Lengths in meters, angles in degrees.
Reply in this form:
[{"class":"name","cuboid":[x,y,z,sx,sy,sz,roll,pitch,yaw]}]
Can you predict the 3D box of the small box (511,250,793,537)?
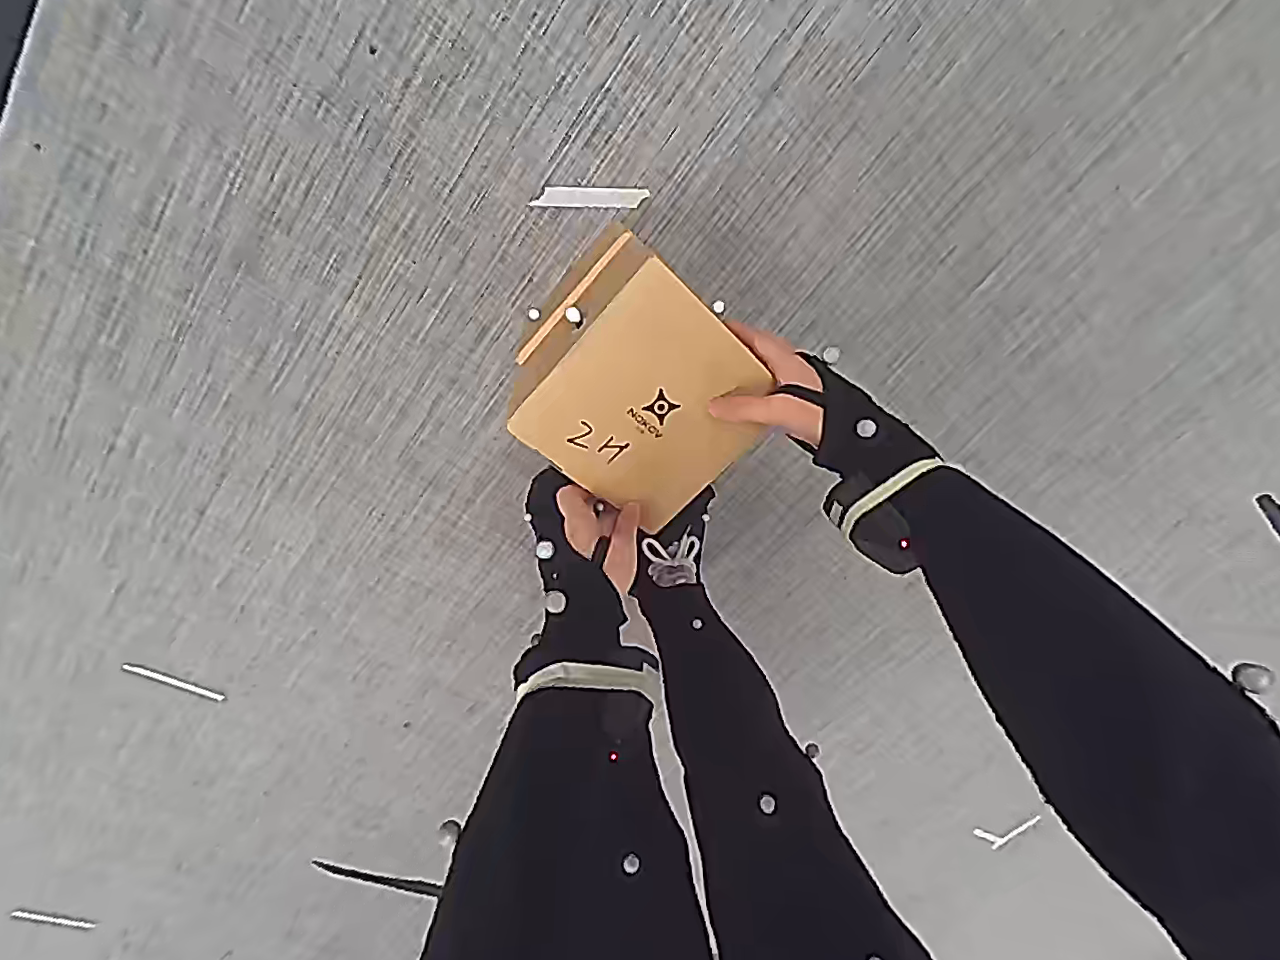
[{"class":"small box","cuboid":[0.002,-0.088,0.504,0.168,0.176,0.179,38,108,-23]}]
